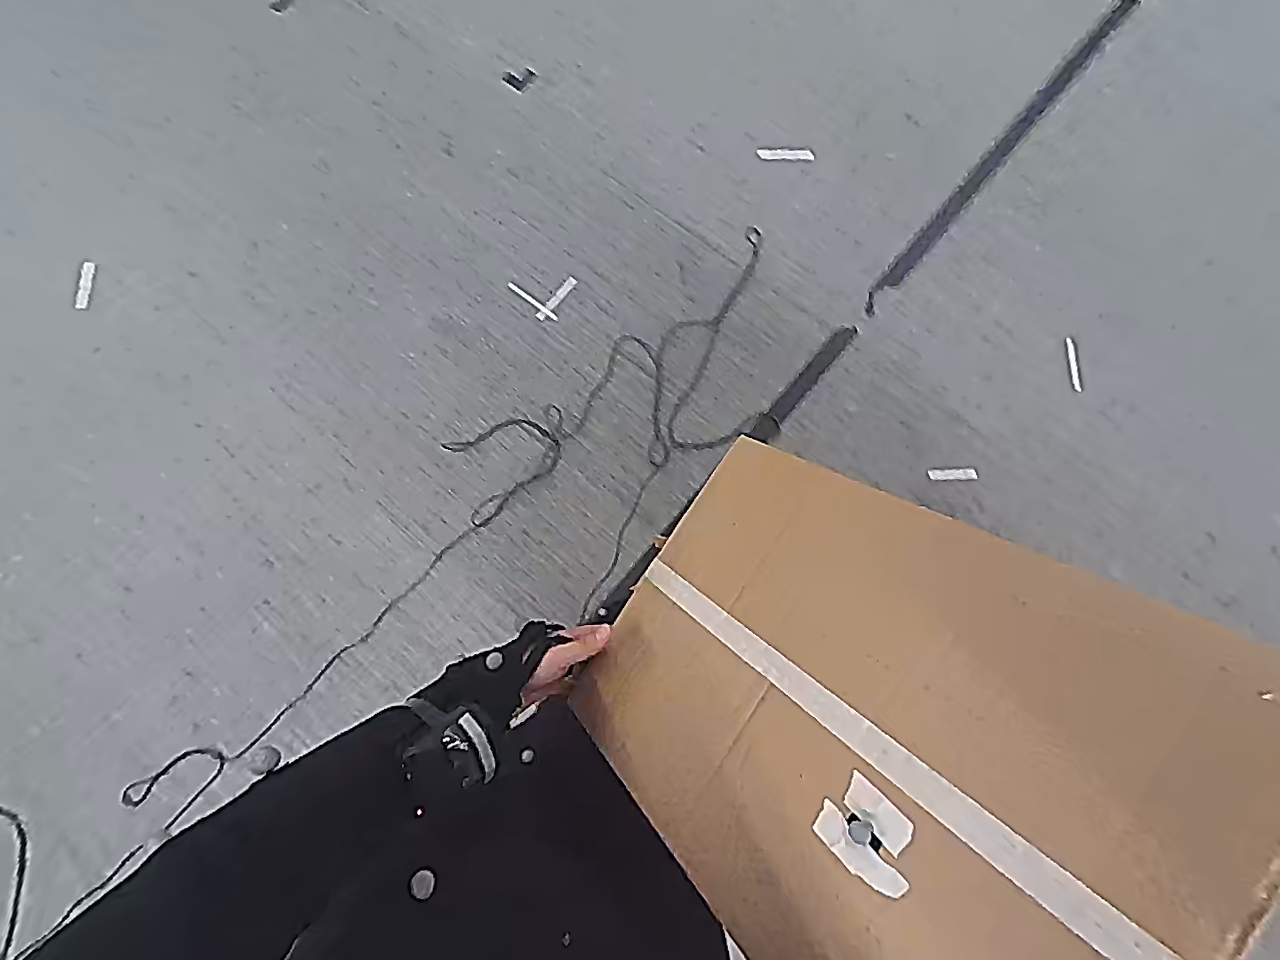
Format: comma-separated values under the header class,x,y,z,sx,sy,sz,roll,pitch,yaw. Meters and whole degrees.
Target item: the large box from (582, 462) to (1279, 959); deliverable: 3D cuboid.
class,x,y,z,sx,sy,sz,roll,pitch,yaw
large box,0.229,0.236,0.481,0.408,0.320,0.320,31,87,48
